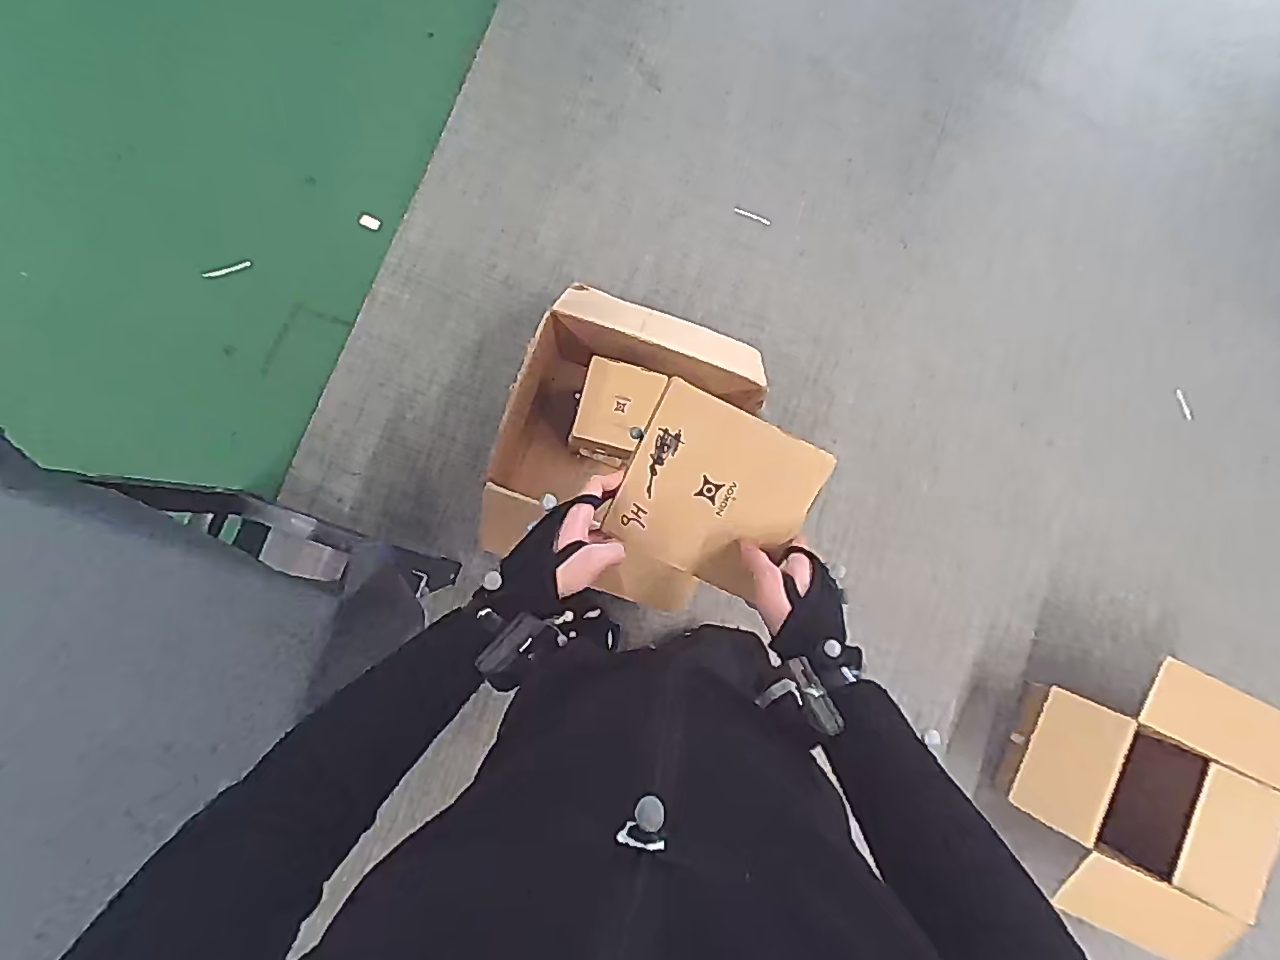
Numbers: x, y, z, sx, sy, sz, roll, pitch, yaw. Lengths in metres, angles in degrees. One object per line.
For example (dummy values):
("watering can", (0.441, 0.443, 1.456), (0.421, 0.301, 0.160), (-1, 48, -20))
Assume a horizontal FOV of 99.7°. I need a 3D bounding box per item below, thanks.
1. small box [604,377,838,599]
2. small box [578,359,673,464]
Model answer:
("small box", (0.078, -0.002, 0.597), (0.179, 0.176, 0.168), (26, 98, -3))
("small box", (-0.039, -0.138, 1.179), (0.168, 0.176, 0.179), (14, 84, -6))
